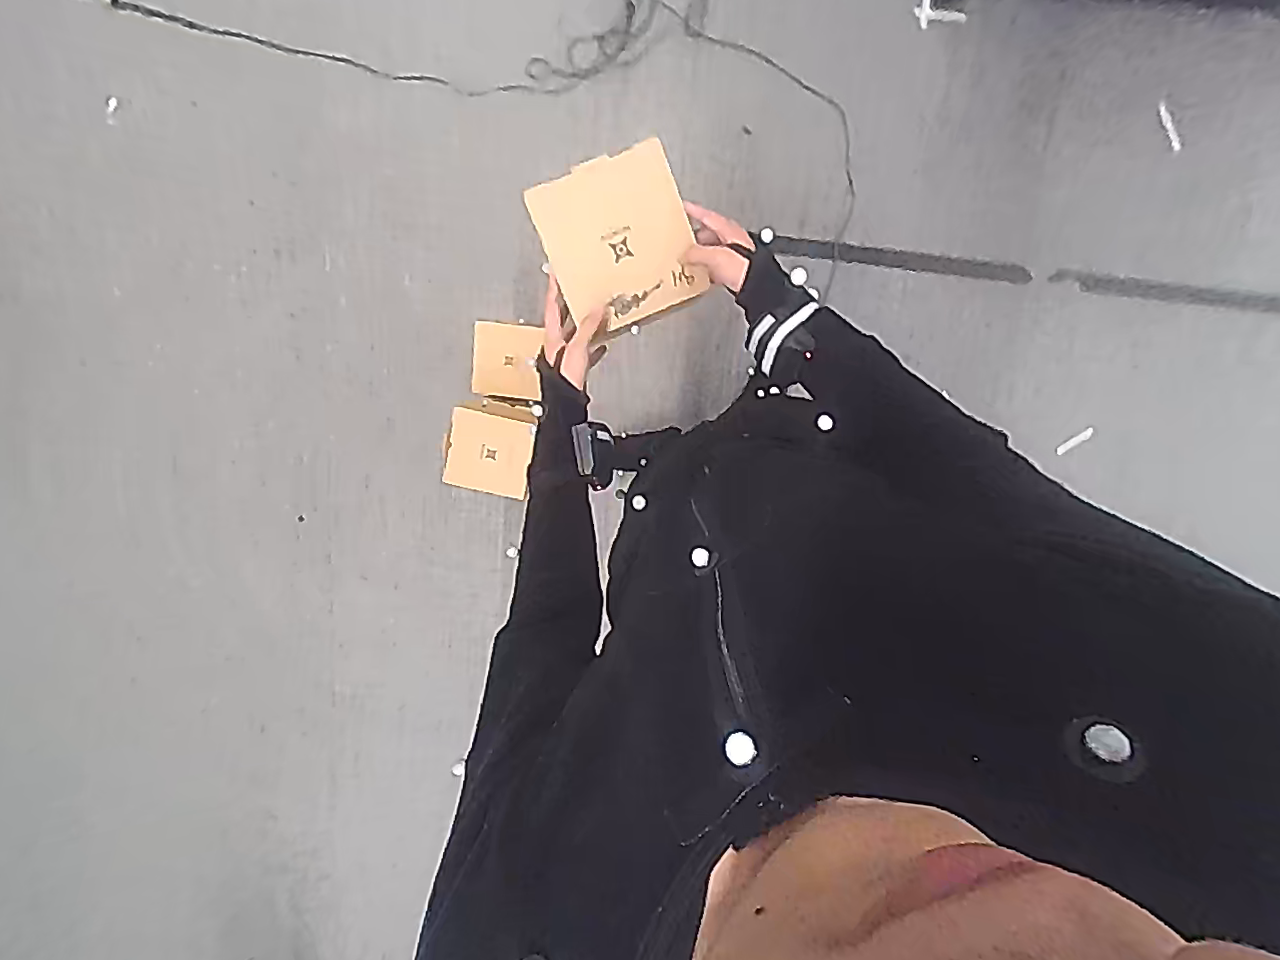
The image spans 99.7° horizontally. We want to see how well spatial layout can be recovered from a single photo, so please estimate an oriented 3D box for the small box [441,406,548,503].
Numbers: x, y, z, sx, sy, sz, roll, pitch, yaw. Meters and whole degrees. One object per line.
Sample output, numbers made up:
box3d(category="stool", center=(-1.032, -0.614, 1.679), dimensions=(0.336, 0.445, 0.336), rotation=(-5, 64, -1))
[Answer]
box3d(category="small box", center=(-0.313, -0.064, 1.190), dimensions=(0.179, 0.176, 0.168), rotation=(13, 102, -3))
